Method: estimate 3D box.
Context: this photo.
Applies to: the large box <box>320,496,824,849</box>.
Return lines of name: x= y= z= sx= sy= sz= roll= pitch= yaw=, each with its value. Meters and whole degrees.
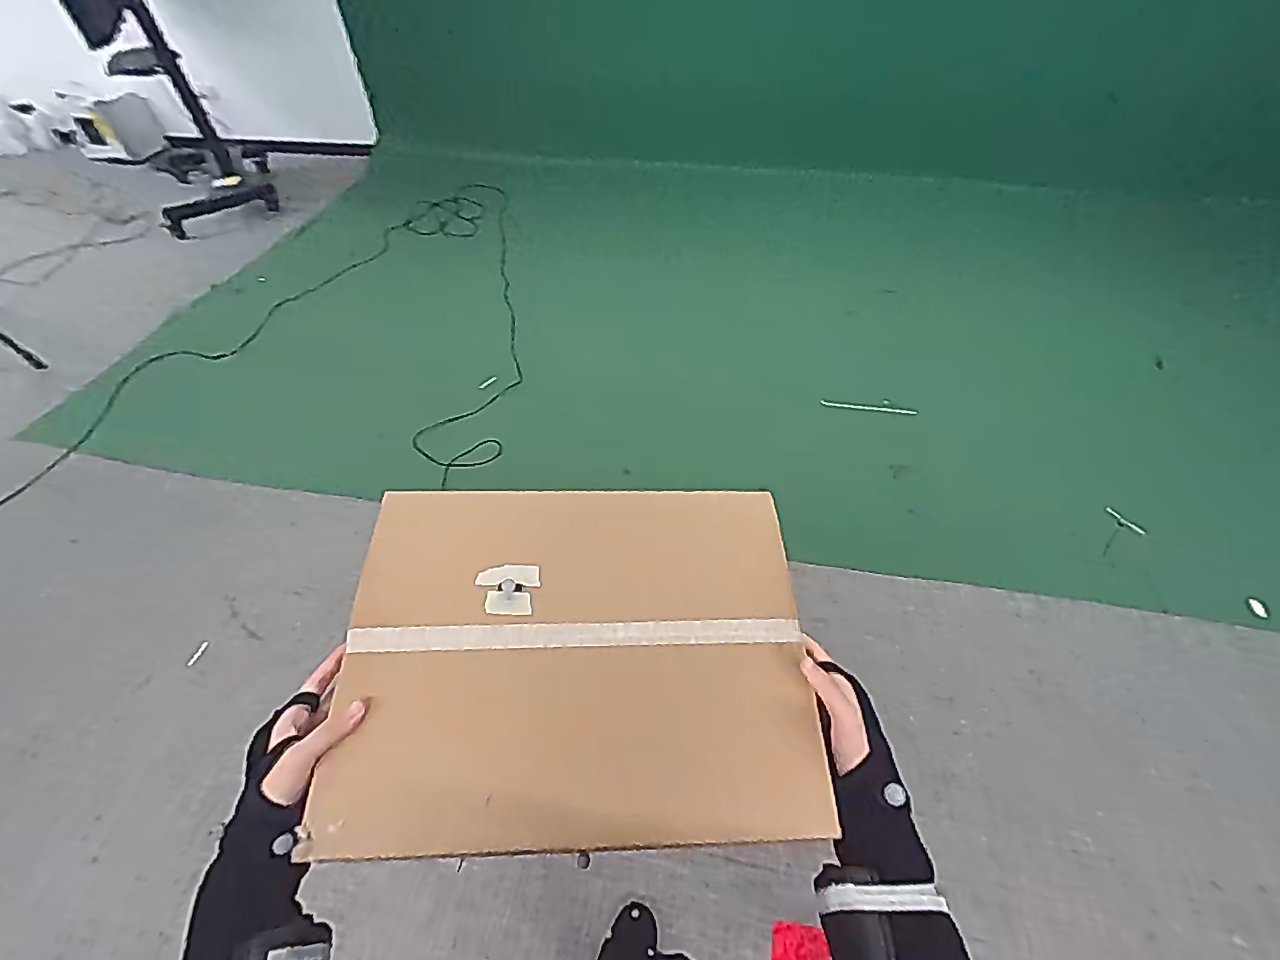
large box: x=-0.057 y=0.226 z=0.627 sx=0.408 sy=0.320 sz=0.320 roll=0 pitch=57 yaw=-3
